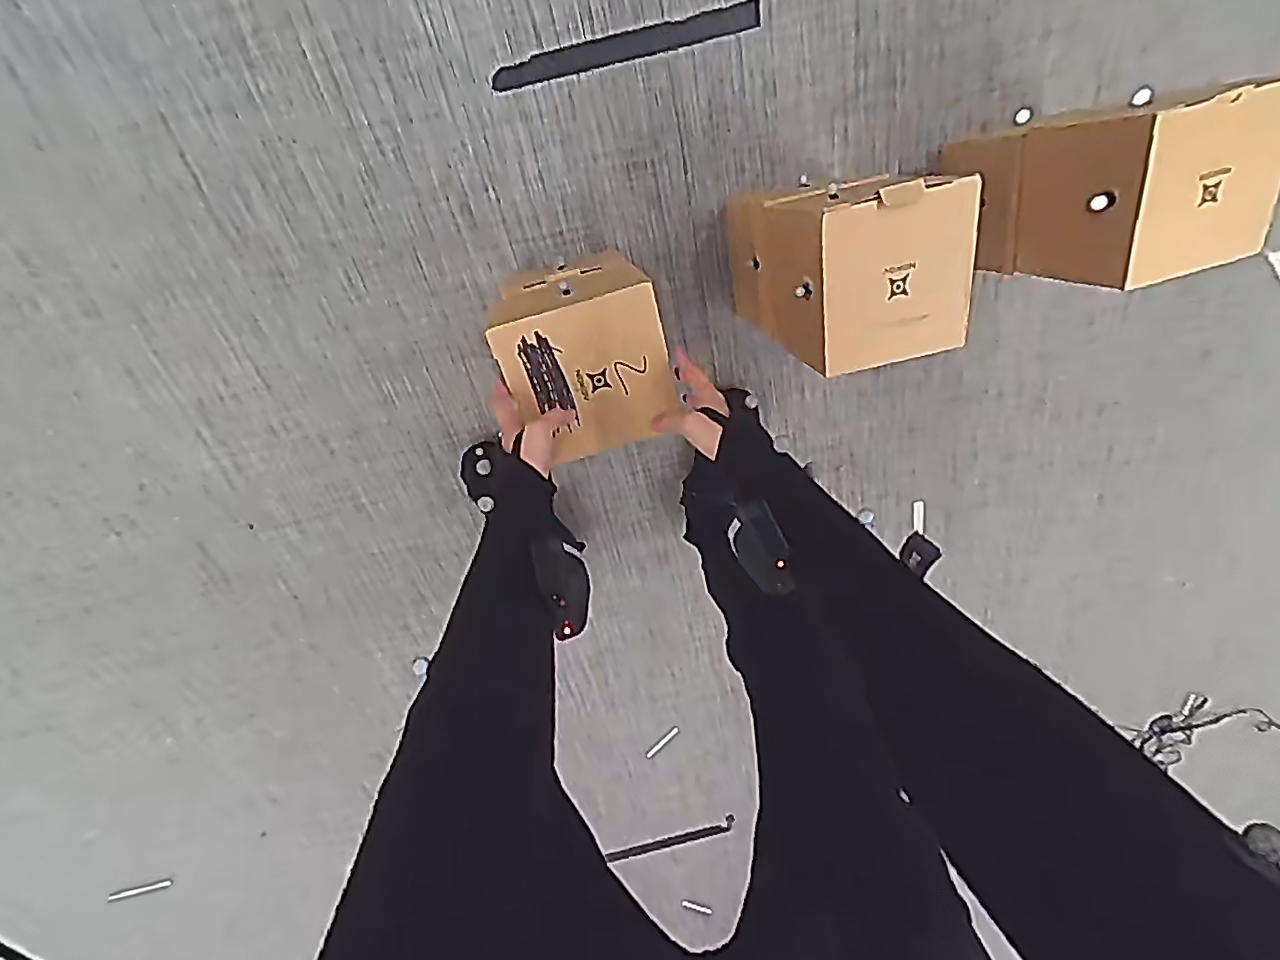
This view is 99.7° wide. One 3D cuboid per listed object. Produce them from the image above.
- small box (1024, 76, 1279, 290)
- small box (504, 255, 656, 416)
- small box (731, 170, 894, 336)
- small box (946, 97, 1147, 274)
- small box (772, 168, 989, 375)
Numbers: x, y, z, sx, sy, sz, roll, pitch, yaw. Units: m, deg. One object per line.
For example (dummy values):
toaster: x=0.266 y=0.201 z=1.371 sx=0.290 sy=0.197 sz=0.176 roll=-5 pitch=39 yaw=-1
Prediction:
small box: x=0.589 y=-0.341 z=0.630 sx=0.168 sy=0.176 sz=0.179 roll=-16 pitch=118 yaw=-1
small box: x=-0.084 y=-0.215 z=0.773 sx=0.168 sy=0.176 sz=0.179 roll=-14 pitch=118 yaw=-1
small box: x=0.235 y=-0.322 z=0.766 sx=0.168 sy=0.176 sz=0.179 roll=-13 pitch=119 yaw=-2
small box: x=0.563 y=-0.414 z=0.773 sx=0.168 sy=0.176 sz=0.179 roll=-16 pitch=118 yaw=-1
small box: x=0.261 y=-0.242 z=0.625 sx=0.168 sy=0.176 sz=0.179 roll=-13 pitch=118 yaw=-2
